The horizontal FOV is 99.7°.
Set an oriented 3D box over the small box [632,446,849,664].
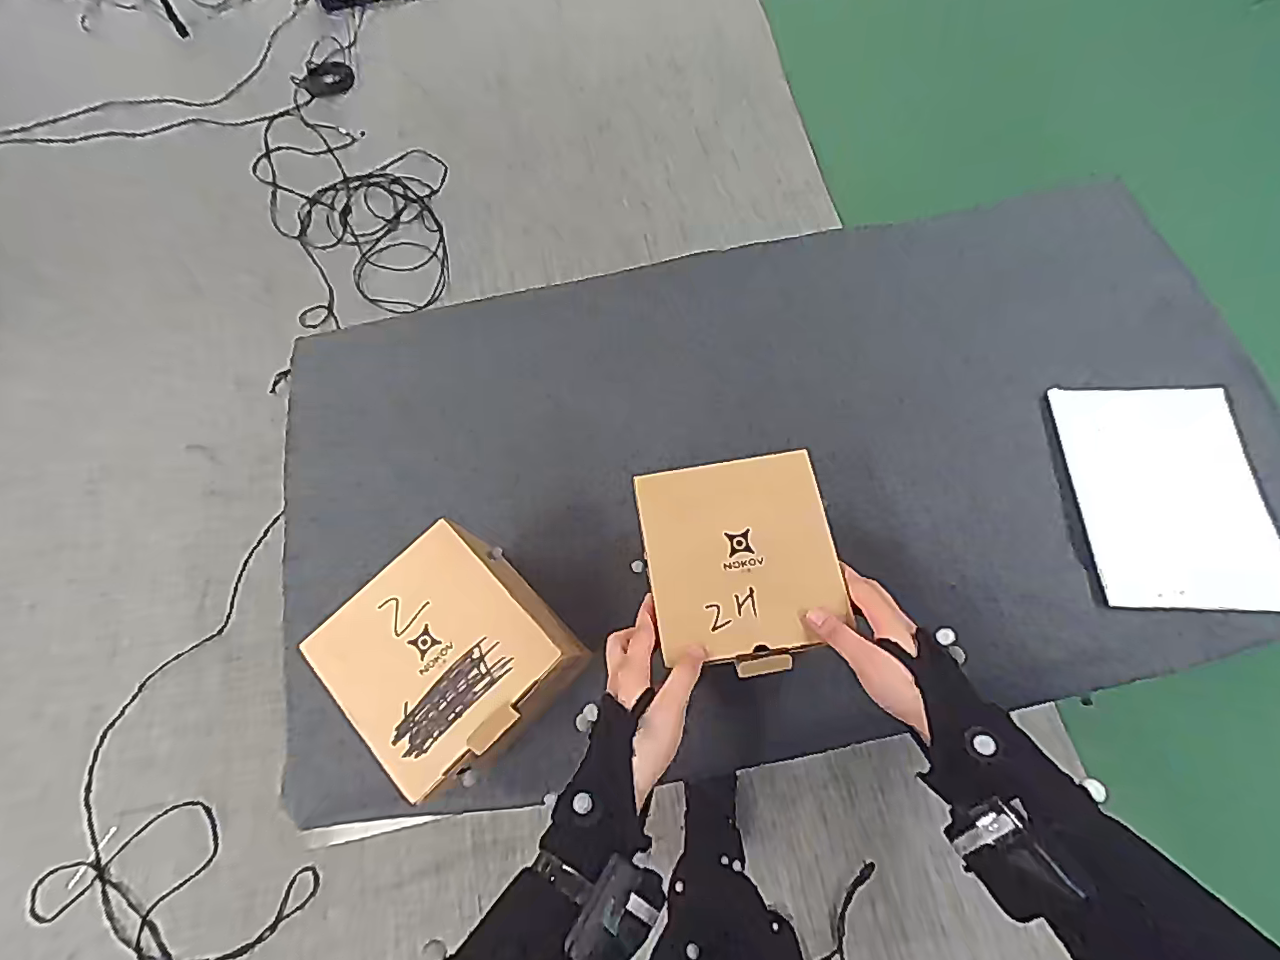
[{"bbox_3d":[0.087,0.086,0.553,0.168,0.176,0.179,-10,71,1],"label":"small box"}]
